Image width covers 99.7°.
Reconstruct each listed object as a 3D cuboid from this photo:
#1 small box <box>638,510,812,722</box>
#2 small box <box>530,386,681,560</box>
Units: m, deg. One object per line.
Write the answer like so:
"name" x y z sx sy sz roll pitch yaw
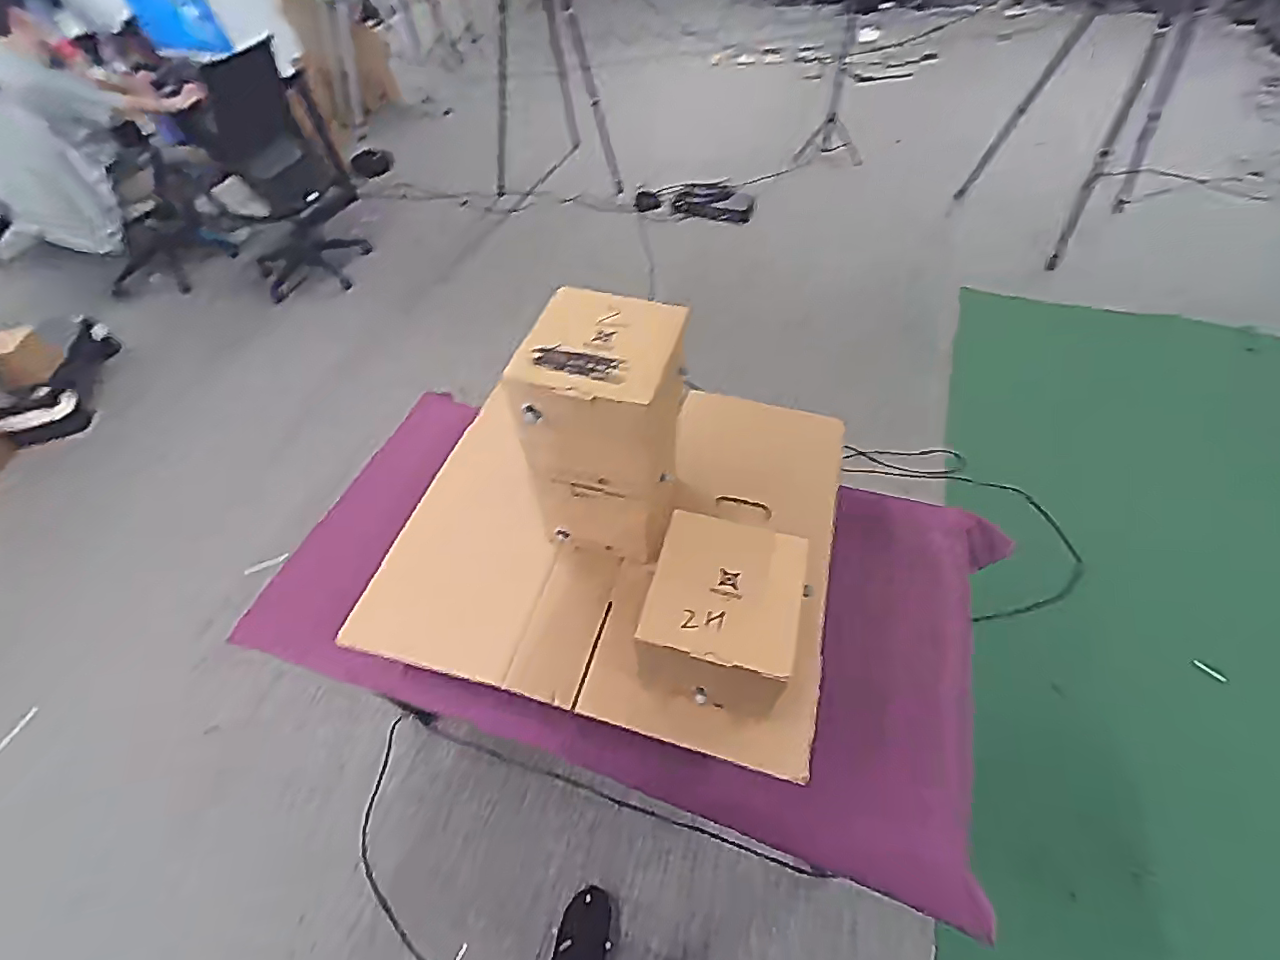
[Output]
"small box" 0.100 0.169 0.664 0.168 0.176 0.179 13 55 12
"small box" -0.041 -0.007 0.799 0.168 0.176 0.179 13 54 10
